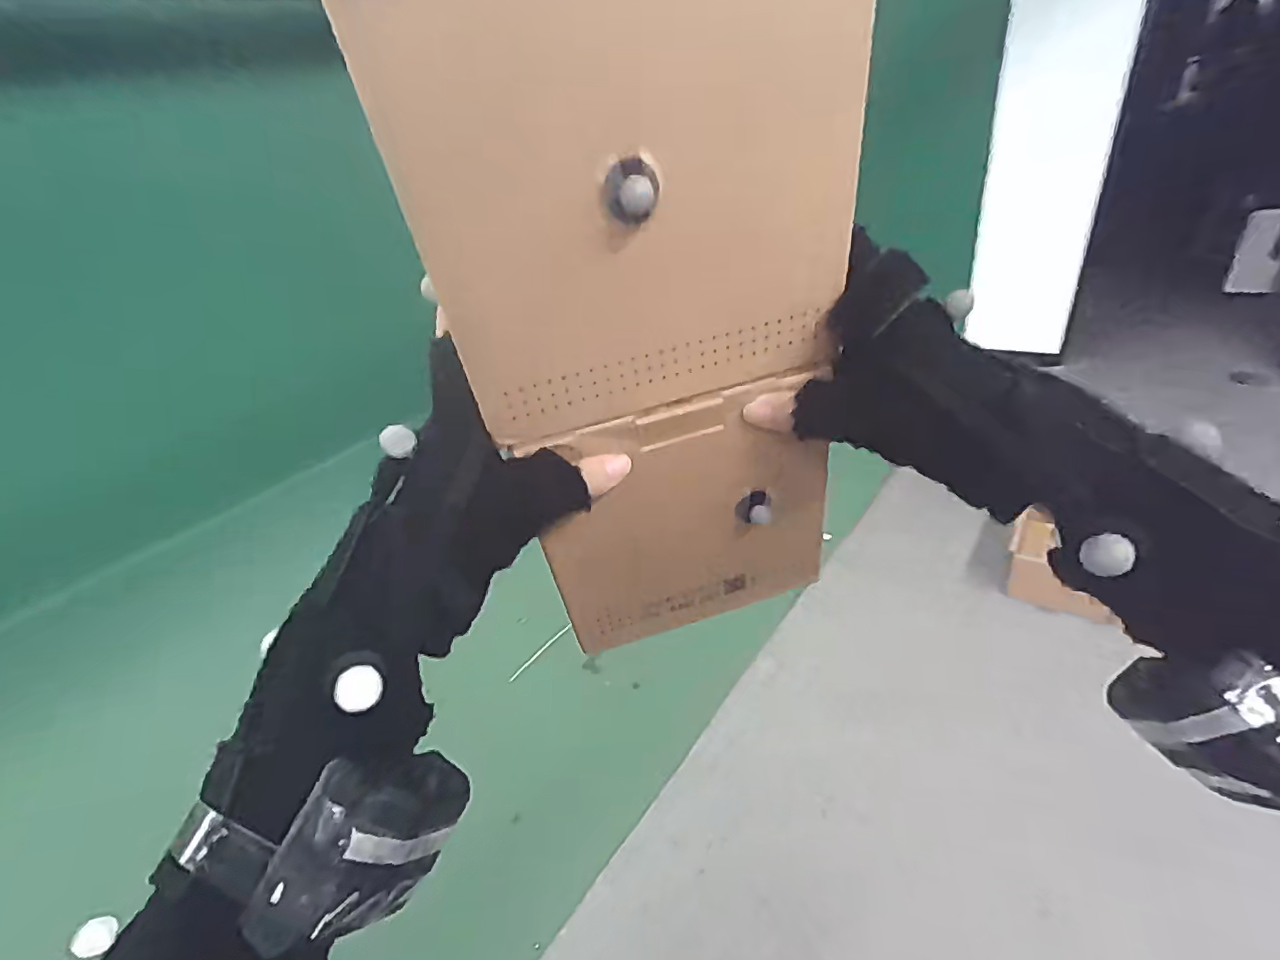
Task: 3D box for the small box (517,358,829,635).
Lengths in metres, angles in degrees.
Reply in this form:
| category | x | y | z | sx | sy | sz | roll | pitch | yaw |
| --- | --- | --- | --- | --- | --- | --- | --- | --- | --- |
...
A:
| category | x | y | z | sx | sy | sz | roll | pitch | yaw |
| --- | --- | --- | --- | --- | --- | --- | --- | --- | --- |
| small box | 0.013 | -0.015 | 0.379 | 0.168 | 0.176 | 0.179 | -16 | 38 | -6 |

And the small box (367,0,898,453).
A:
| category | x | y | z | sx | sy | sz | roll | pitch | yaw |
| --- | --- | --- | --- | --- | --- | --- | --- | --- | --- |
| small box | -0.009 | -0.140 | 0.274 | 0.179 | 0.176 | 0.168 | -17 | 40 | -10 |
